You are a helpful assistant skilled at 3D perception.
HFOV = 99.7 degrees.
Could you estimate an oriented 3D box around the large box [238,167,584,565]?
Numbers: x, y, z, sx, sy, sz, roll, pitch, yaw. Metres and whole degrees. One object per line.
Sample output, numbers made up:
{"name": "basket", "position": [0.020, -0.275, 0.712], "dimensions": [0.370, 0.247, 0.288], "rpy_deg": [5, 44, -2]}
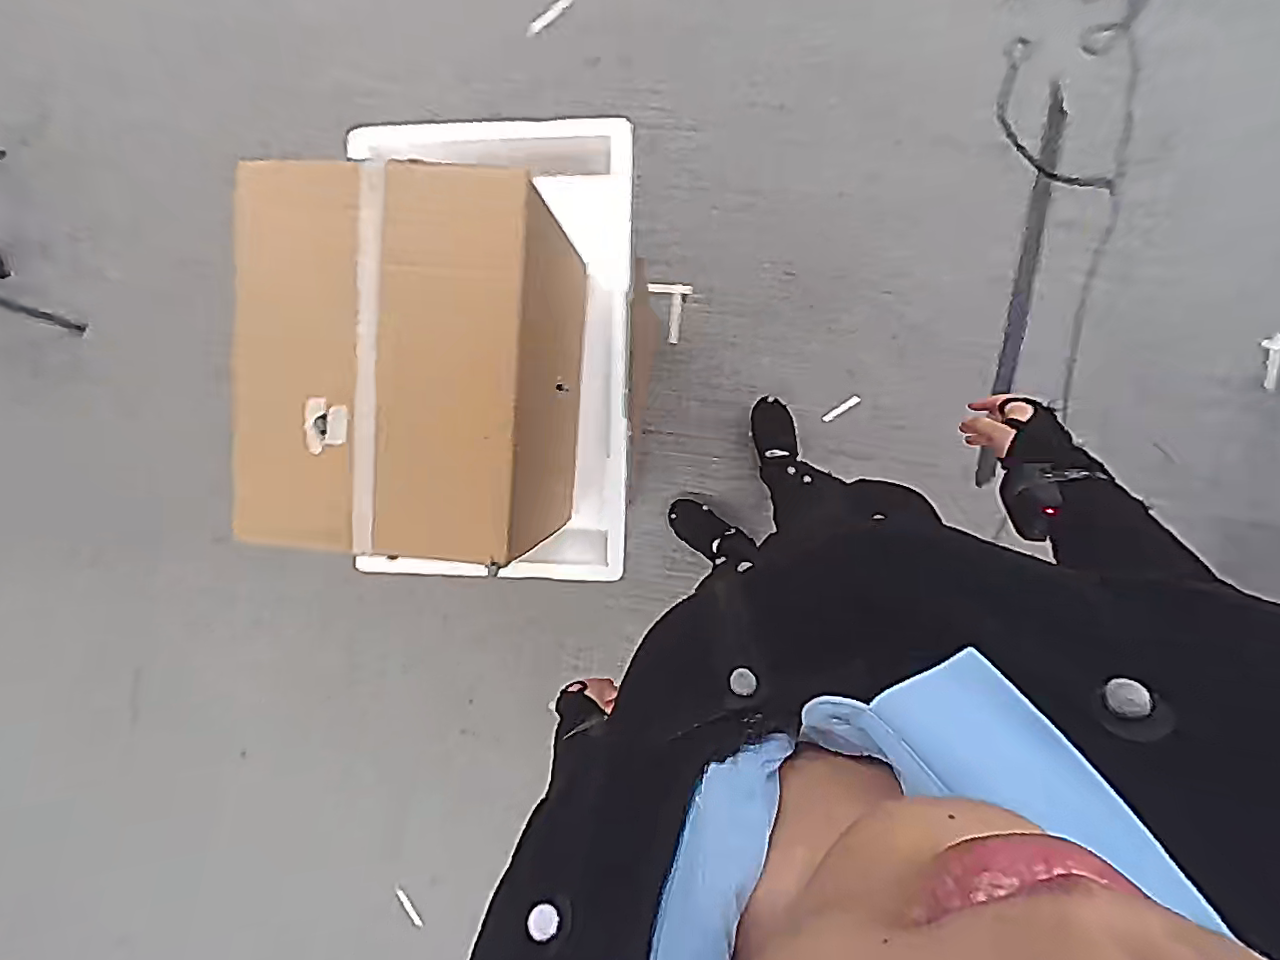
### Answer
{"name": "large box", "position": [-0.255, -0.131, 0.707], "dimensions": [0.320, 0.320, 0.408], "rpy_deg": [4, 96, 7]}
